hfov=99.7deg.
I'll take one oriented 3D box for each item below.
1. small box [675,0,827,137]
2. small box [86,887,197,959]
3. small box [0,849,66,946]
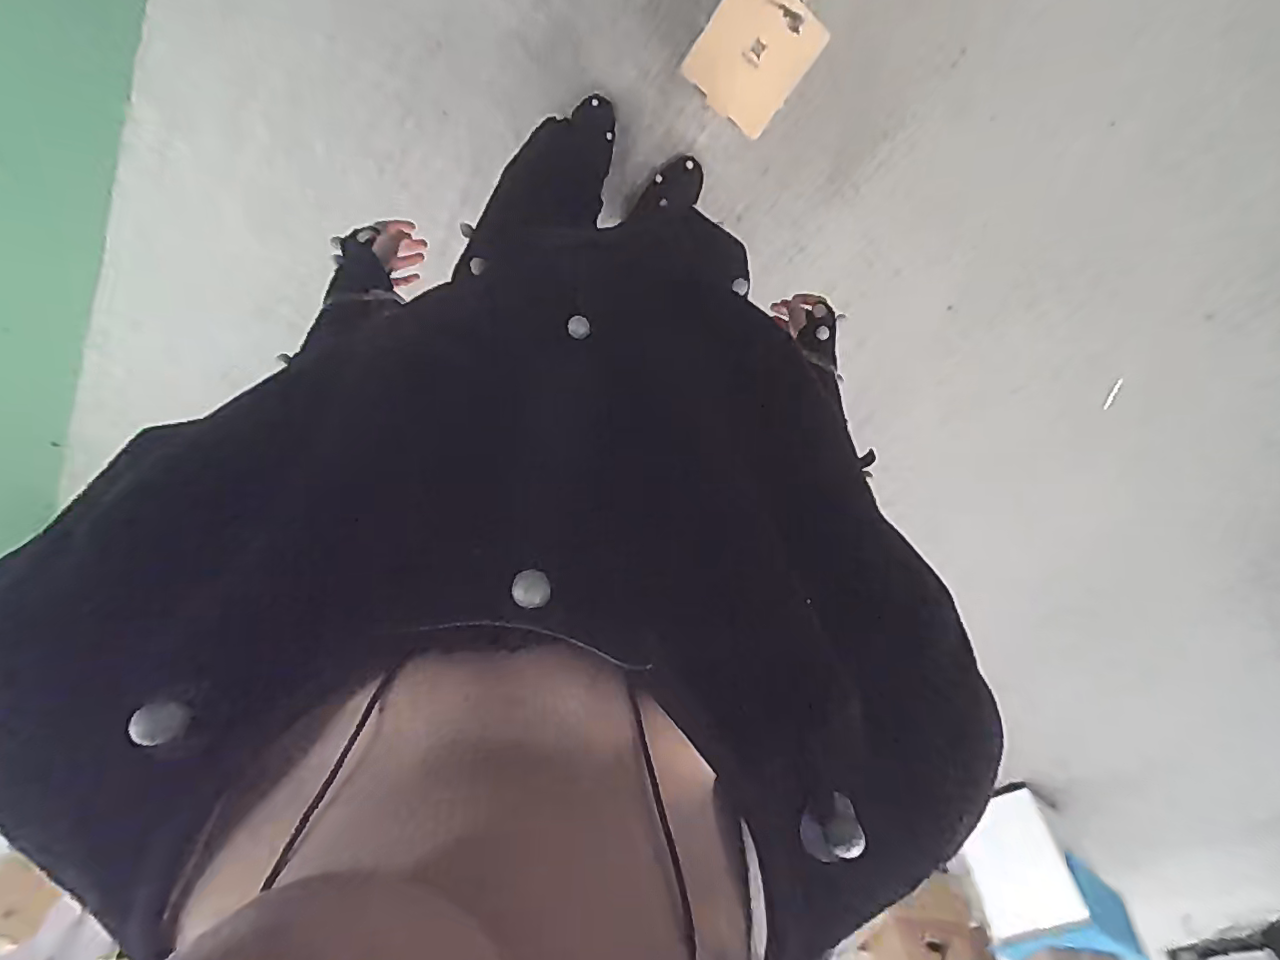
[{"bbox_3d":[0.176,-0.712,0.896,0.168,0.176,0.179,33,122,-19],"label":"small box"},{"bbox_3d":[-1.457,1.325,1.583,0.179,0.176,0.168,30,121,-18],"label":"small box"},{"bbox_3d":[-1.722,1.120,1.448,0.168,0.176,0.179,-30,118,23],"label":"small box"}]
